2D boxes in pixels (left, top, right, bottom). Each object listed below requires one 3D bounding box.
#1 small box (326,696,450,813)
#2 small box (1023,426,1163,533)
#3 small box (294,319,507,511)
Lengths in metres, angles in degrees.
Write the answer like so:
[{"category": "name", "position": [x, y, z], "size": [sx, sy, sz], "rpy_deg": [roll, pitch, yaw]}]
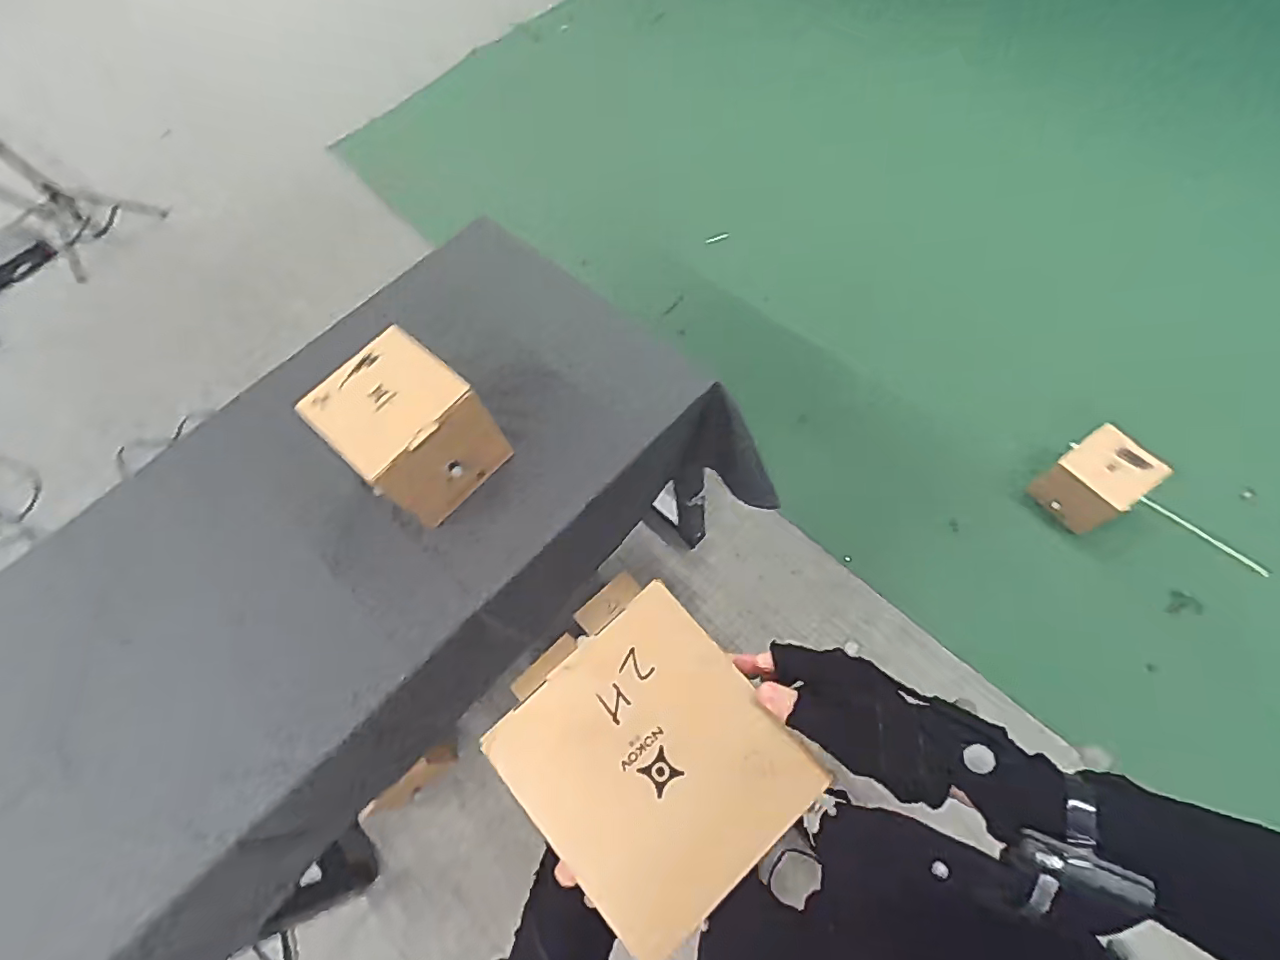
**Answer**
[{"category": "small box", "position": [-0.574, 0.630, 1.250], "size": [0.168, 0.176, 0.179], "rpy_deg": [-37, 66, -10]}, {"category": "small box", "position": [1.120, 0.002, 1.355], "size": [0.179, 0.176, 0.168], "rpy_deg": [-34, 65, -8]}, {"category": "small box", "position": [-0.315, -0.078, 0.747], "size": [0.179, 0.176, 0.168], "rpy_deg": [38, 74, 20]}]
